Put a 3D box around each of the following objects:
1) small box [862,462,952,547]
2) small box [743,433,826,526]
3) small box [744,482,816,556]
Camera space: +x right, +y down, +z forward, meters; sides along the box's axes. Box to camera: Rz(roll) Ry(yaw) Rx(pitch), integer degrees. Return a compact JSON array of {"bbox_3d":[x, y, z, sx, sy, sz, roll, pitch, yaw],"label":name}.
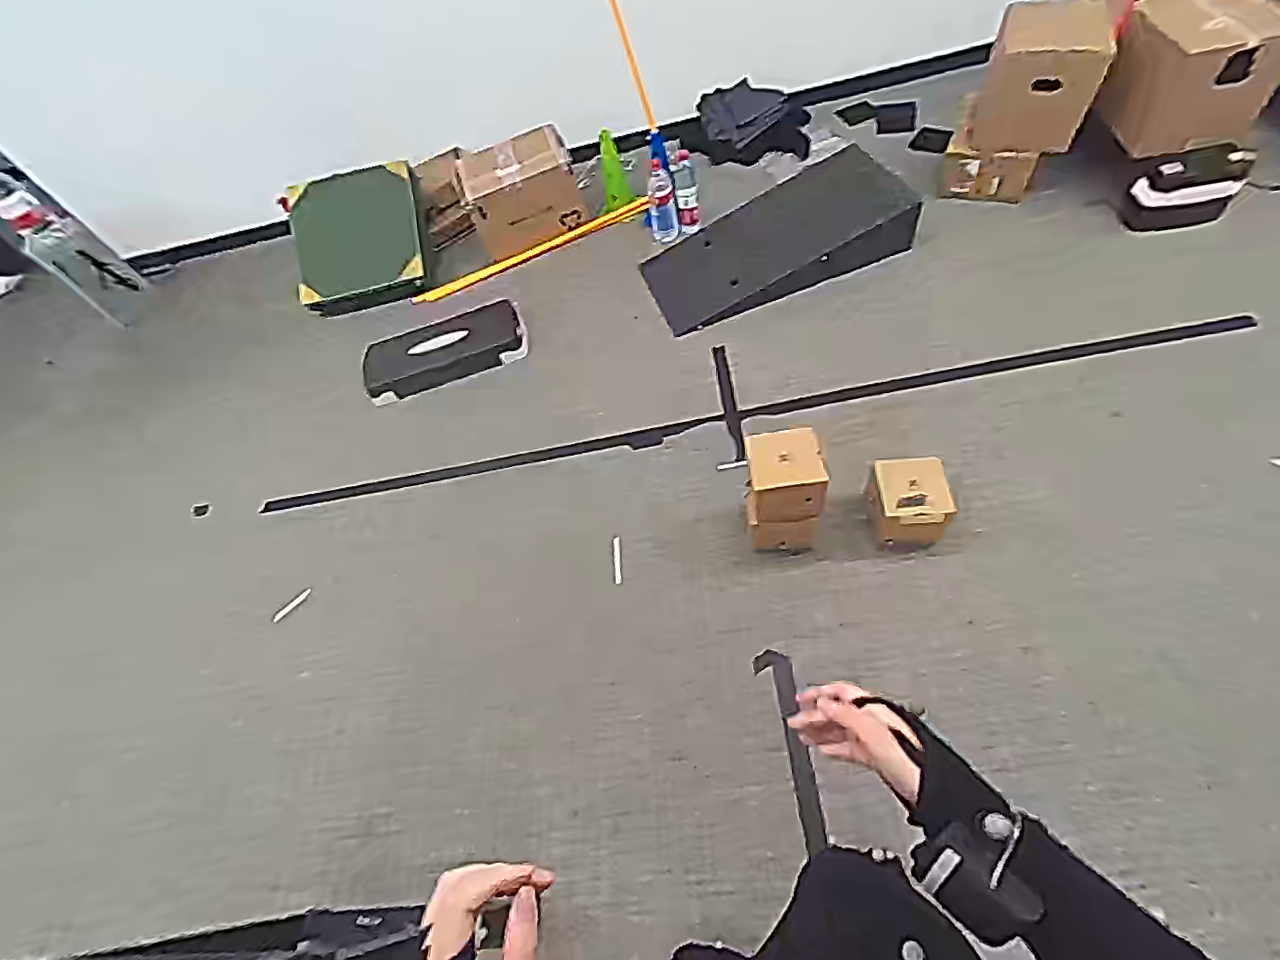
[{"bbox_3d":[0.711,0.074,1.460,0.168,0.176,0.179,-4,56,9],"label":"small box"},{"bbox_3d":[0.363,0.003,1.383,0.179,0.176,0.168,-8,56,8],"label":"small box"},{"bbox_3d":[0.384,0.102,1.512,0.179,0.176,0.168,-4,57,9],"label":"small box"}]
